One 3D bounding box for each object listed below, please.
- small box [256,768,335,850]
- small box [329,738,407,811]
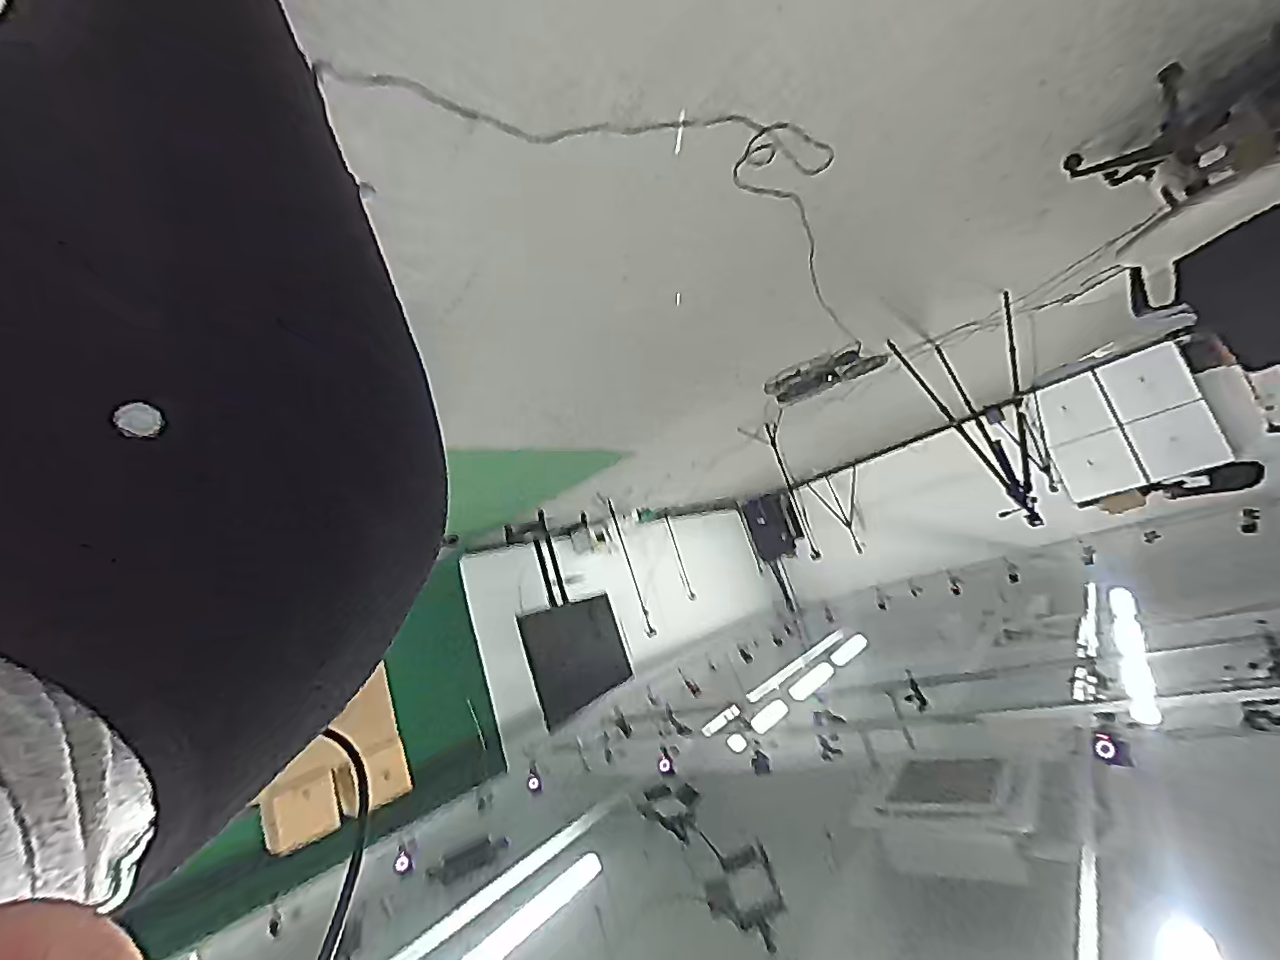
[{"bbox_3d":[-1.096,1.036,1.715,0.179,0.176,0.168,-29,165,39],"label":"small box"},{"bbox_3d":[-0.947,1.014,1.875,0.168,0.176,0.179,-28,167,38],"label":"small box"}]
